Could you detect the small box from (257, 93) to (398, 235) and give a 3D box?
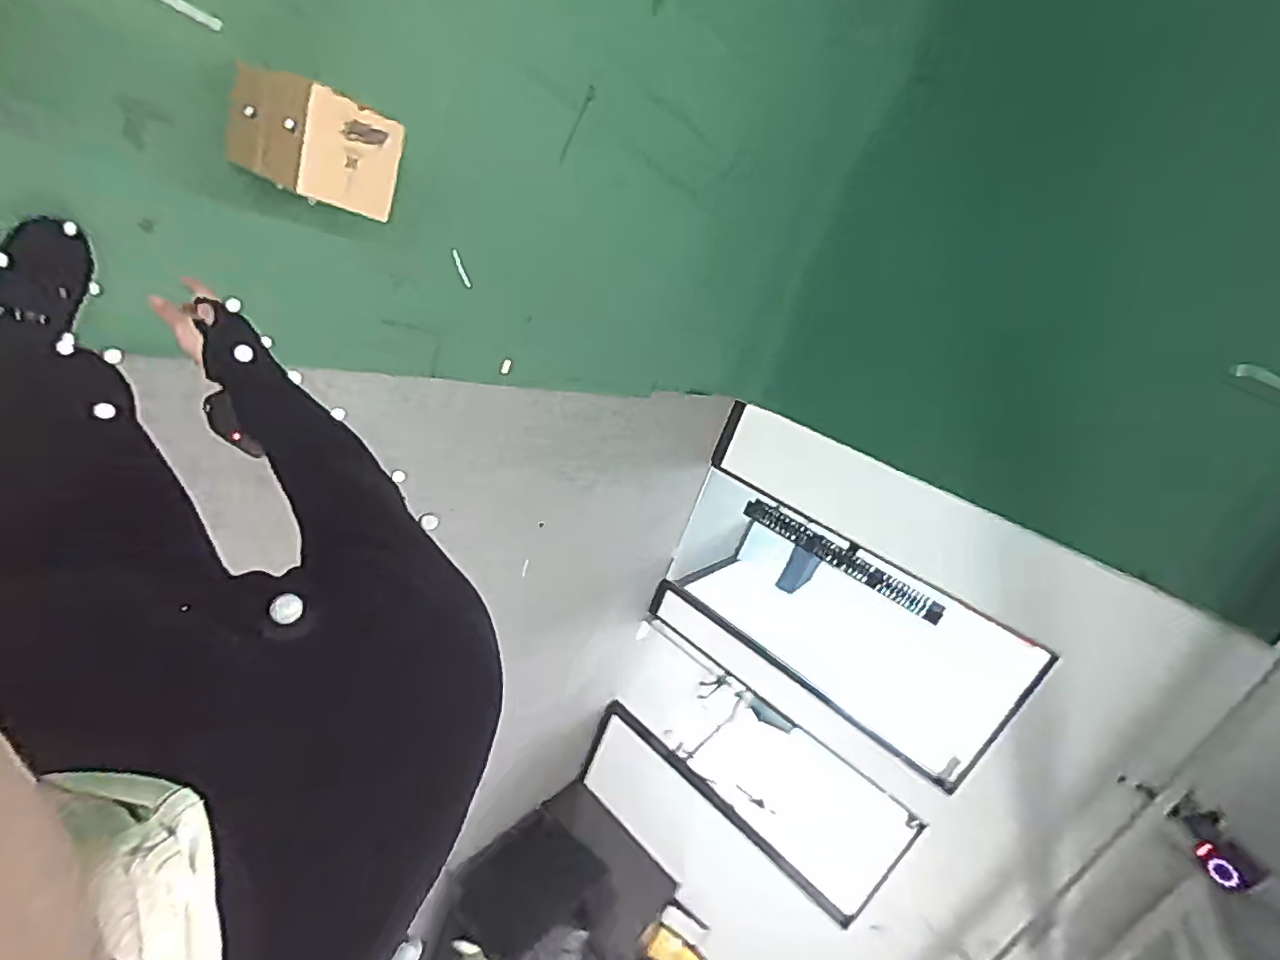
[{"bbox_3d":[-0.587,-0.590,1.013,0.168,0.176,0.179,-7,122,-55],"label":"small box"}]
